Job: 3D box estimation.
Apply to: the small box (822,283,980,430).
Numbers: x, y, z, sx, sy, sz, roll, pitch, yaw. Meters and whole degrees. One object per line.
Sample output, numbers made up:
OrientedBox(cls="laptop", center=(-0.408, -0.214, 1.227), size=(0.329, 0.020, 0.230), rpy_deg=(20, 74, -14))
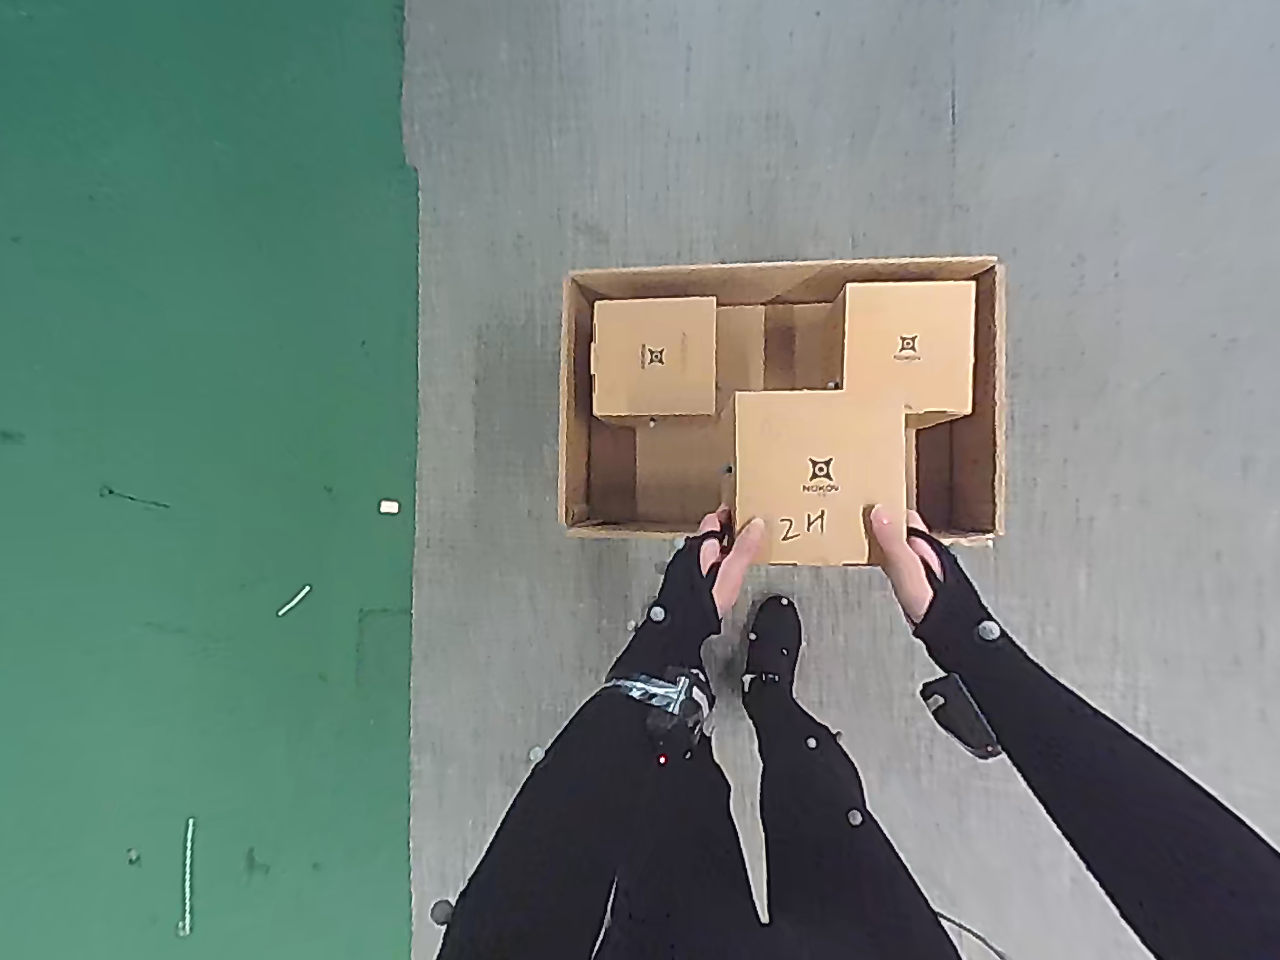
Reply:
OrientedBox(cls="small box", center=(0.367, -0.172, 0.792), size=(0.168, 0.176, 0.179), rpy_deg=(2, 91, 7))

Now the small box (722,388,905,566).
OrientedBox(cls="small box", center=(0.182, -0.002, 0.613), size=(0.168, 0.176, 0.179), rpy_deg=(0, 89, 5))
